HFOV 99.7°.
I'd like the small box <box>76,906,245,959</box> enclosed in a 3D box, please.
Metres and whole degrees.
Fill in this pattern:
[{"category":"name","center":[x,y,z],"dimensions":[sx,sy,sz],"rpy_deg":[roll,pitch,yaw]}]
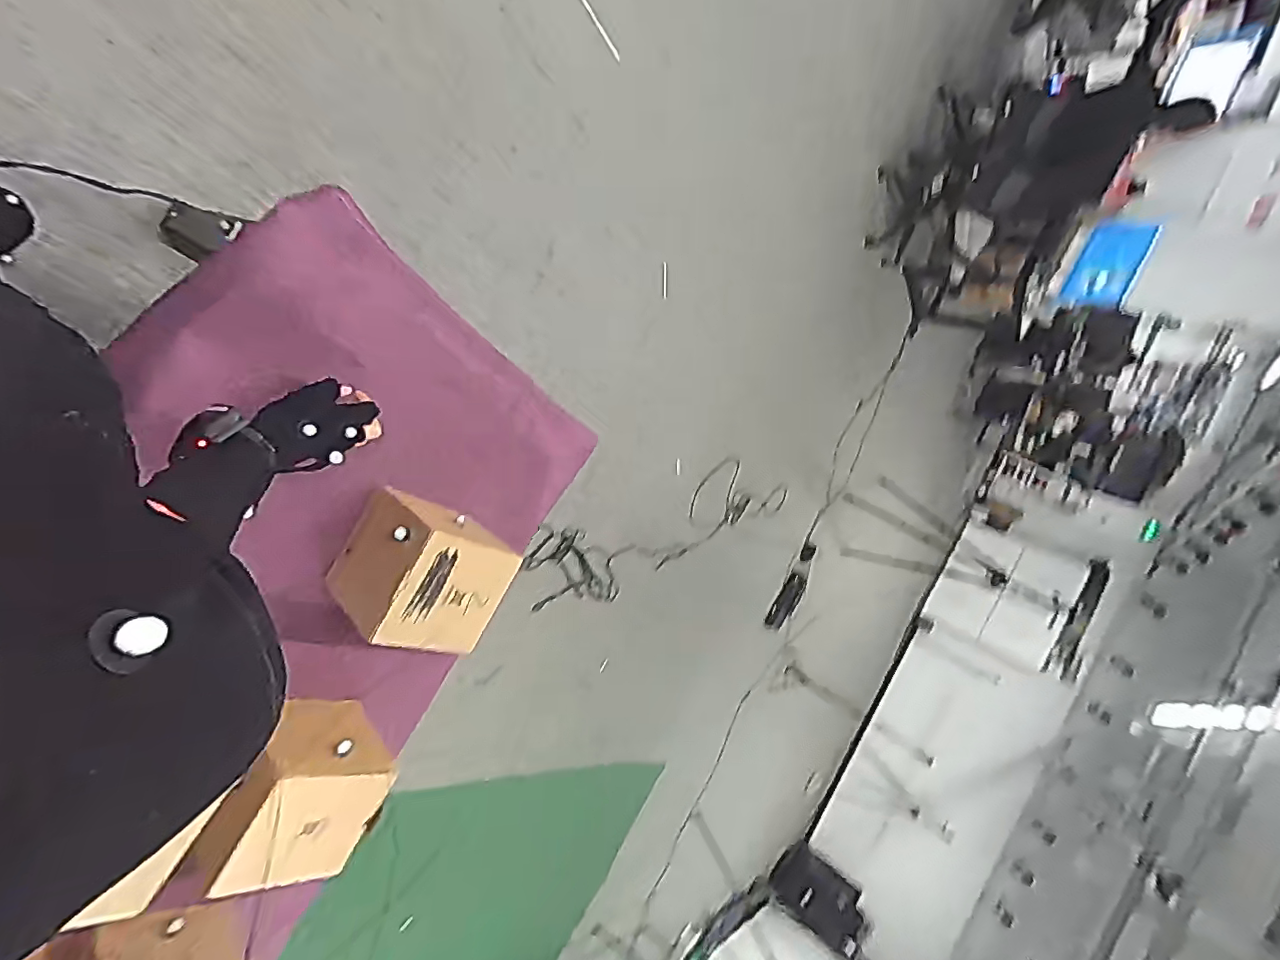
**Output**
[{"category":"small box","center":[-0.677,0.724,0.728],"dimensions":[0.168,0.176,0.179],"rpy_deg":[-56,141,-10]}]

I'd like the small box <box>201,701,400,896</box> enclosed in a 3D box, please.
[{"category":"small box","center":[-0.496,0.439,0.779],"dimensions":[0.168,0.176,0.179],"rpy_deg":[-60,143,-5]}]
